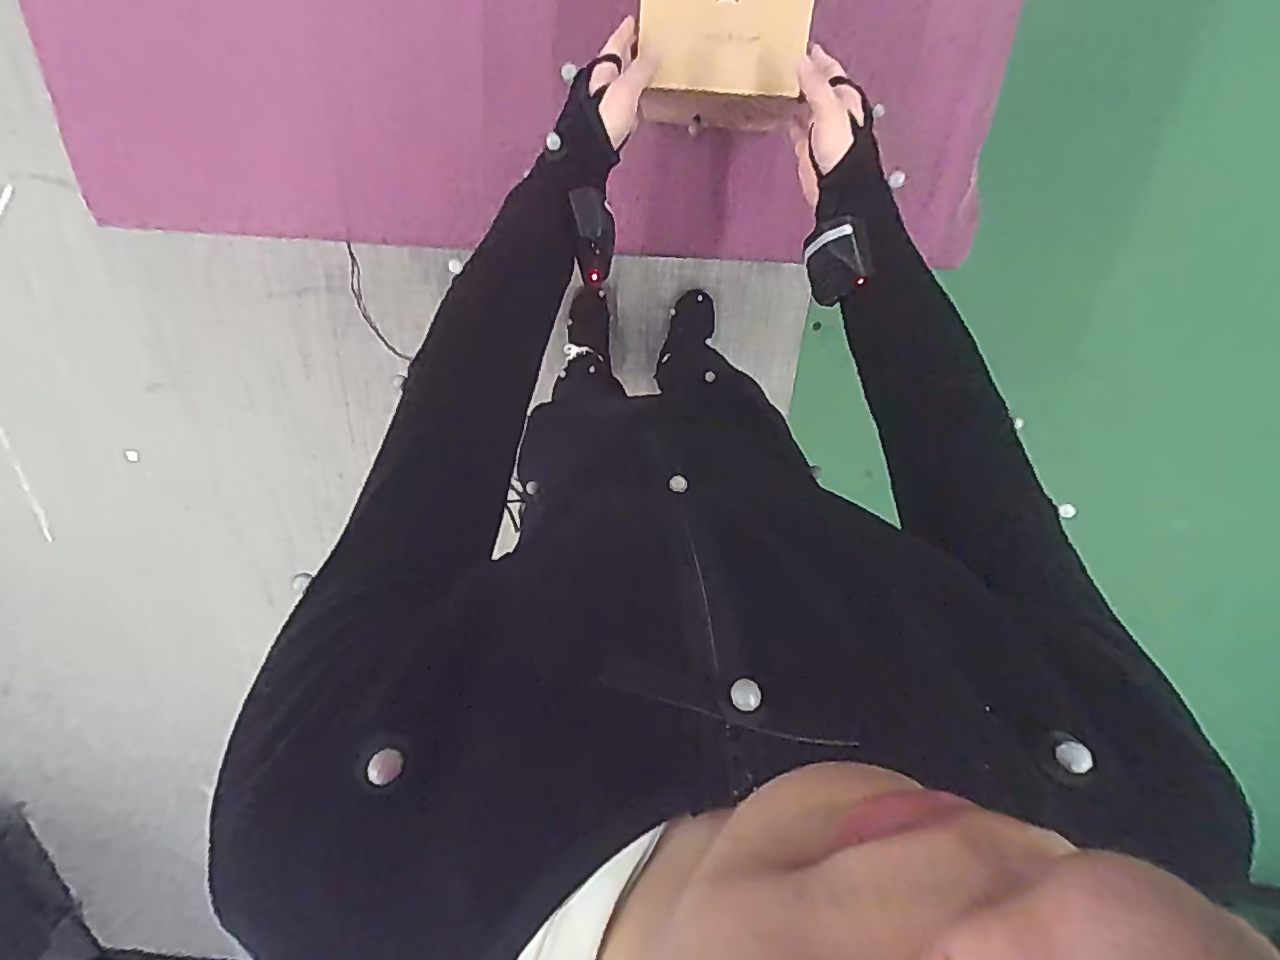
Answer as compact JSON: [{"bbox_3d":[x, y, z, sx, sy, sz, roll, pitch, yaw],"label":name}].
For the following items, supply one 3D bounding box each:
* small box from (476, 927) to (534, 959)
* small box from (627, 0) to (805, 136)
[{"bbox_3d":[-0.434,1.539,1.681,0.168,0.176,0.179,10,114,0],"label":"small box"},{"bbox_3d":[0.080,-0.496,0.583,0.168,0.176,0.179,6,113,3],"label":"small box"}]
